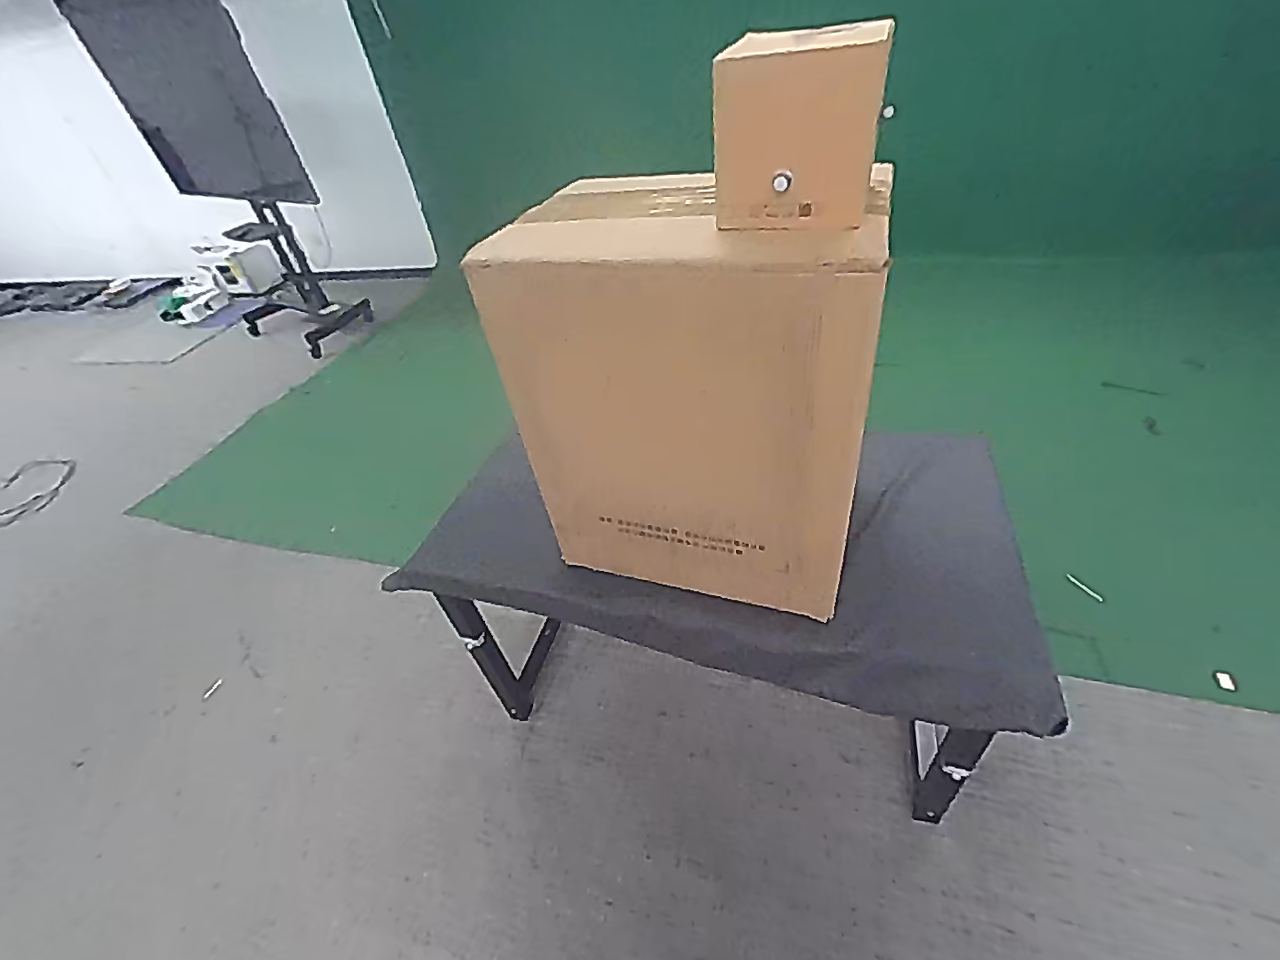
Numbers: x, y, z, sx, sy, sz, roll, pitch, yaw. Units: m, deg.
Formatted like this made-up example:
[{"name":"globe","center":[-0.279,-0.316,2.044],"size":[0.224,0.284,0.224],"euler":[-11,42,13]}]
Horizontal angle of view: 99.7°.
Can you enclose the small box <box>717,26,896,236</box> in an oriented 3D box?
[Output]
[{"name":"small box","center":[0.189,-0.403,0.629],"size":[0.168,0.176,0.179],"euler":[10,47,19]}]
